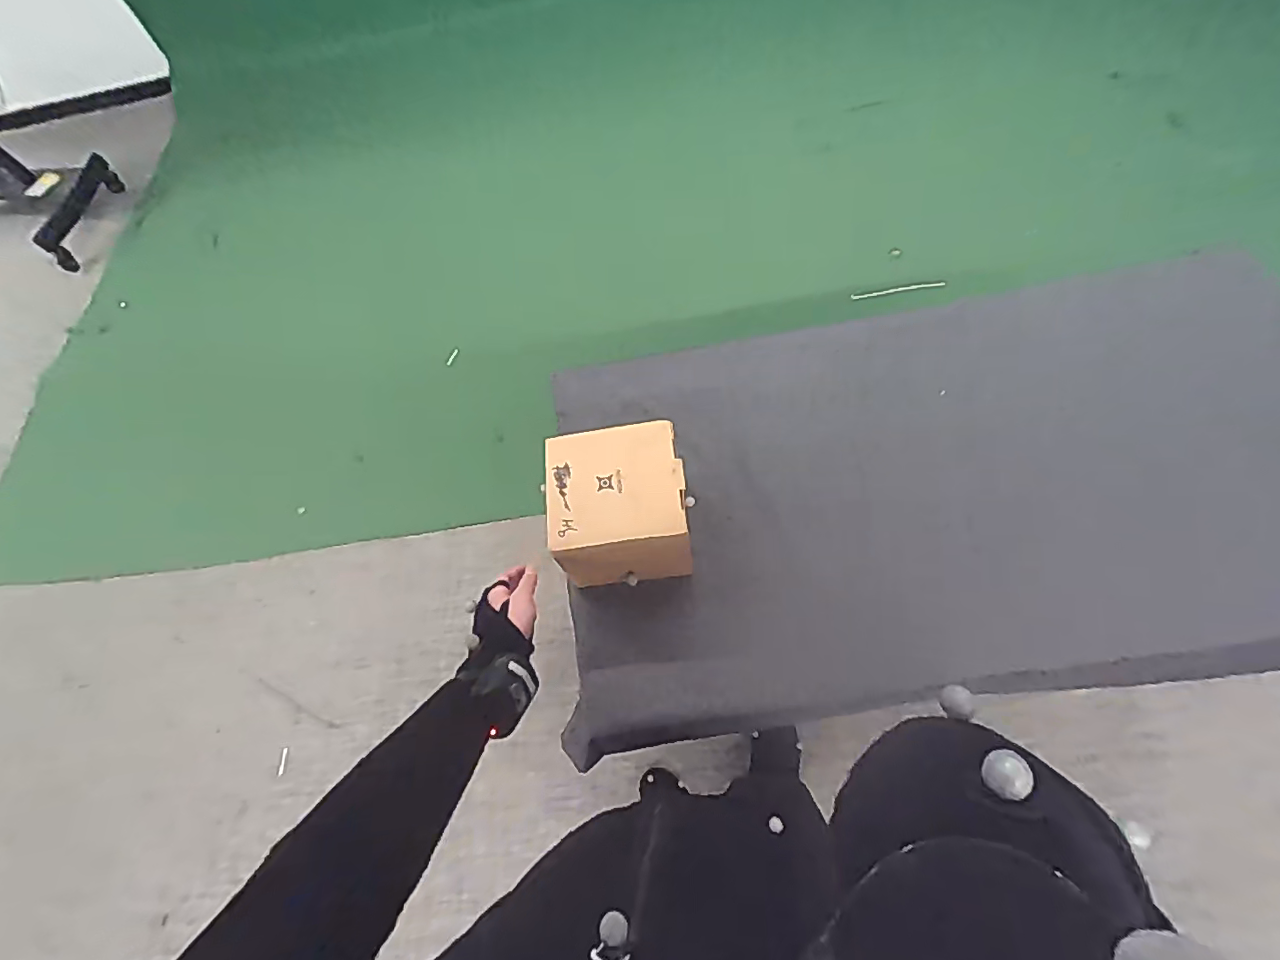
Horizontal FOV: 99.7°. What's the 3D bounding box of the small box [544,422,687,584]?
[{"bbox_3d":[-0.029,0.039,0.760,0.179,0.176,0.168,-7,63,3],"label":"small box"}]
